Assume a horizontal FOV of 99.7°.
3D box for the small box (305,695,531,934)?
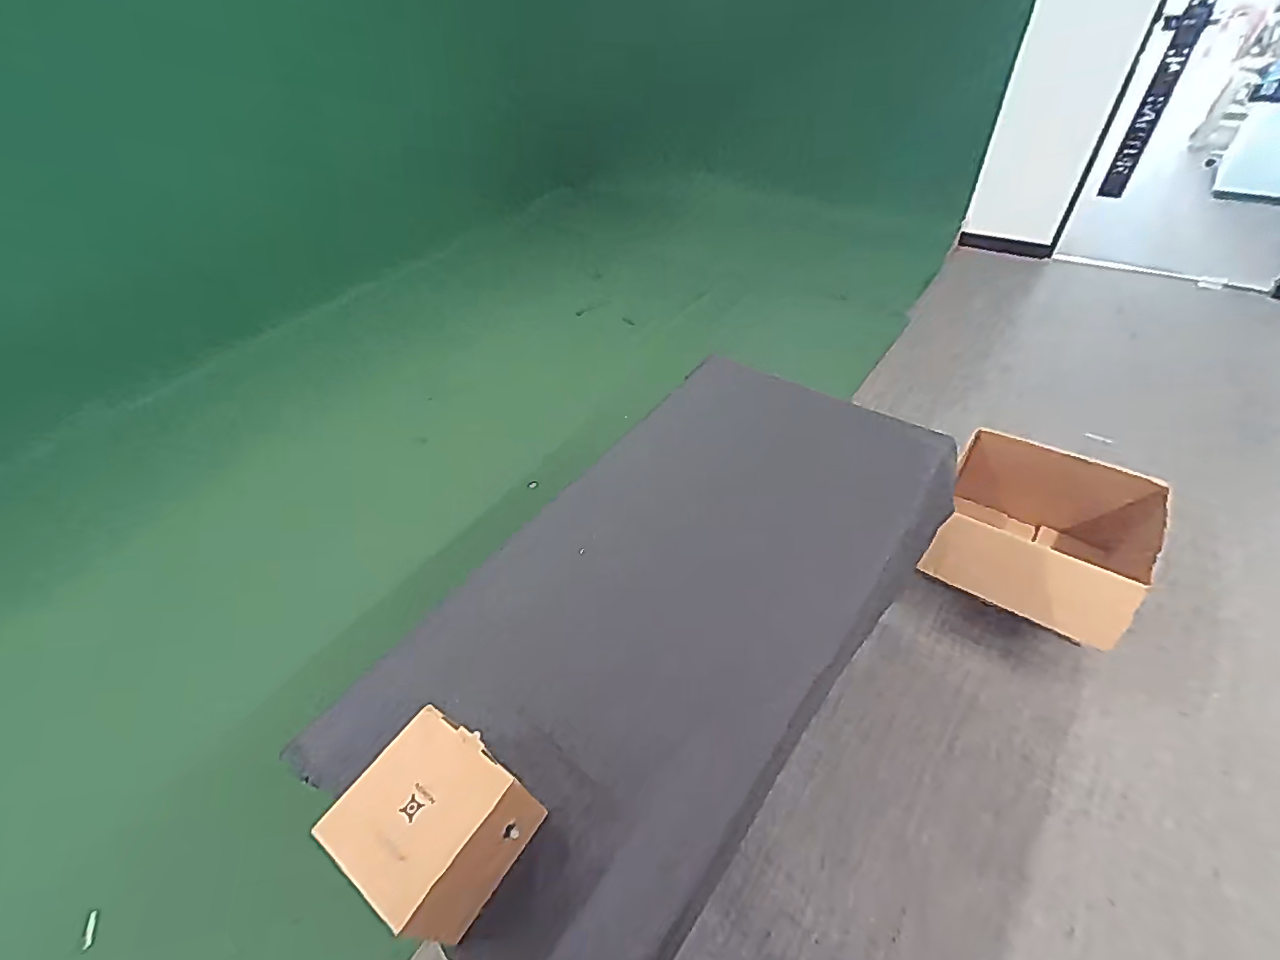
[{"bbox_3d":[-0.256,0.413,0.671,0.168,0.176,0.179,24,55,27],"label":"small box"}]
